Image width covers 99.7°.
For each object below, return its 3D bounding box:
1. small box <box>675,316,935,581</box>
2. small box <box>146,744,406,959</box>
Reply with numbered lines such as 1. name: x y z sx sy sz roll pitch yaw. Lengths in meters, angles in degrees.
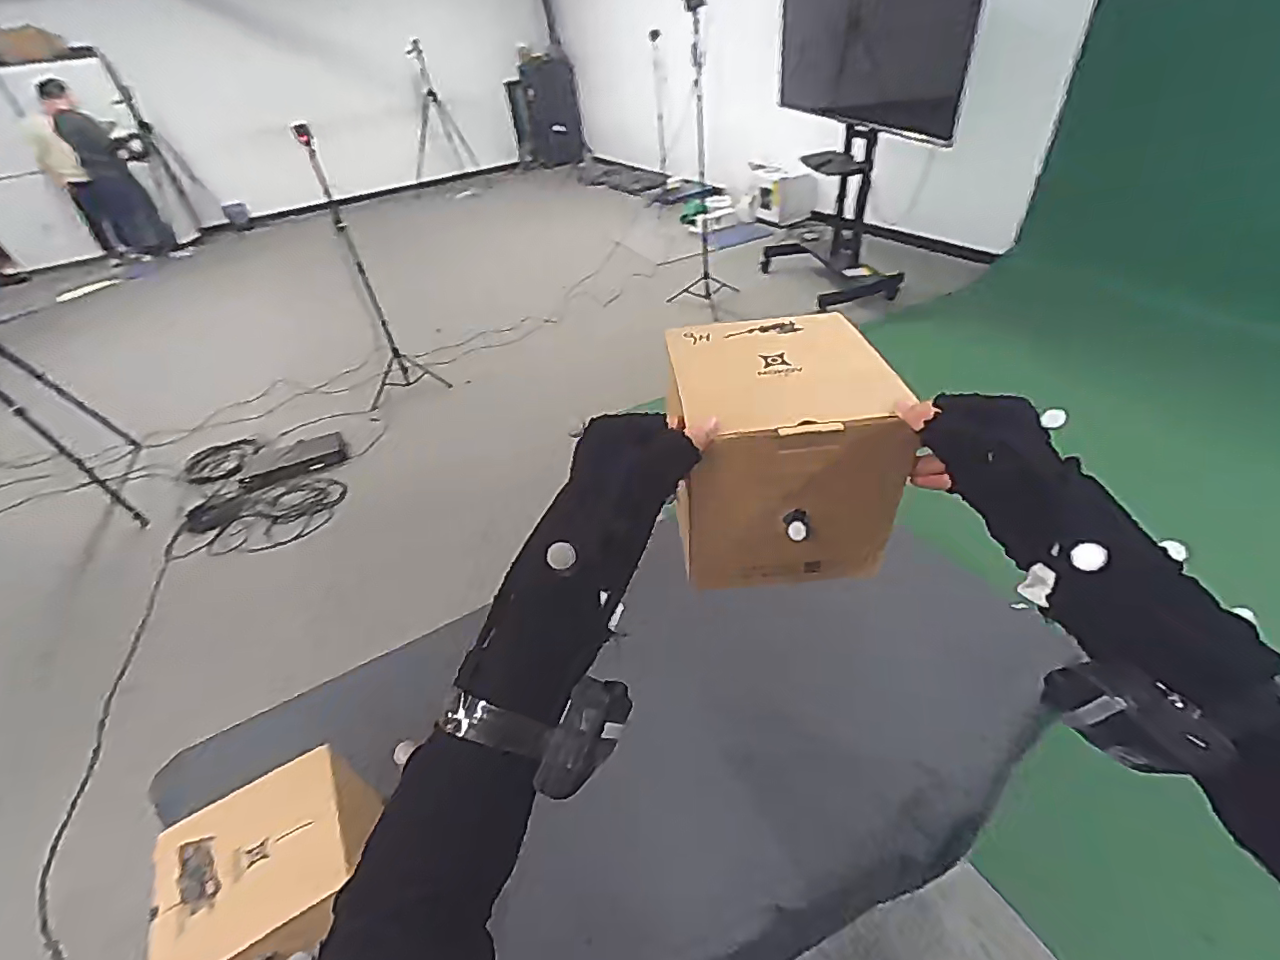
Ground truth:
1. small box: 0.123 -0.024 0.480 0.168 0.176 0.179 -5 40 0
2. small box: -0.390 0.445 0.600 0.179 0.176 0.168 -24 43 -21
